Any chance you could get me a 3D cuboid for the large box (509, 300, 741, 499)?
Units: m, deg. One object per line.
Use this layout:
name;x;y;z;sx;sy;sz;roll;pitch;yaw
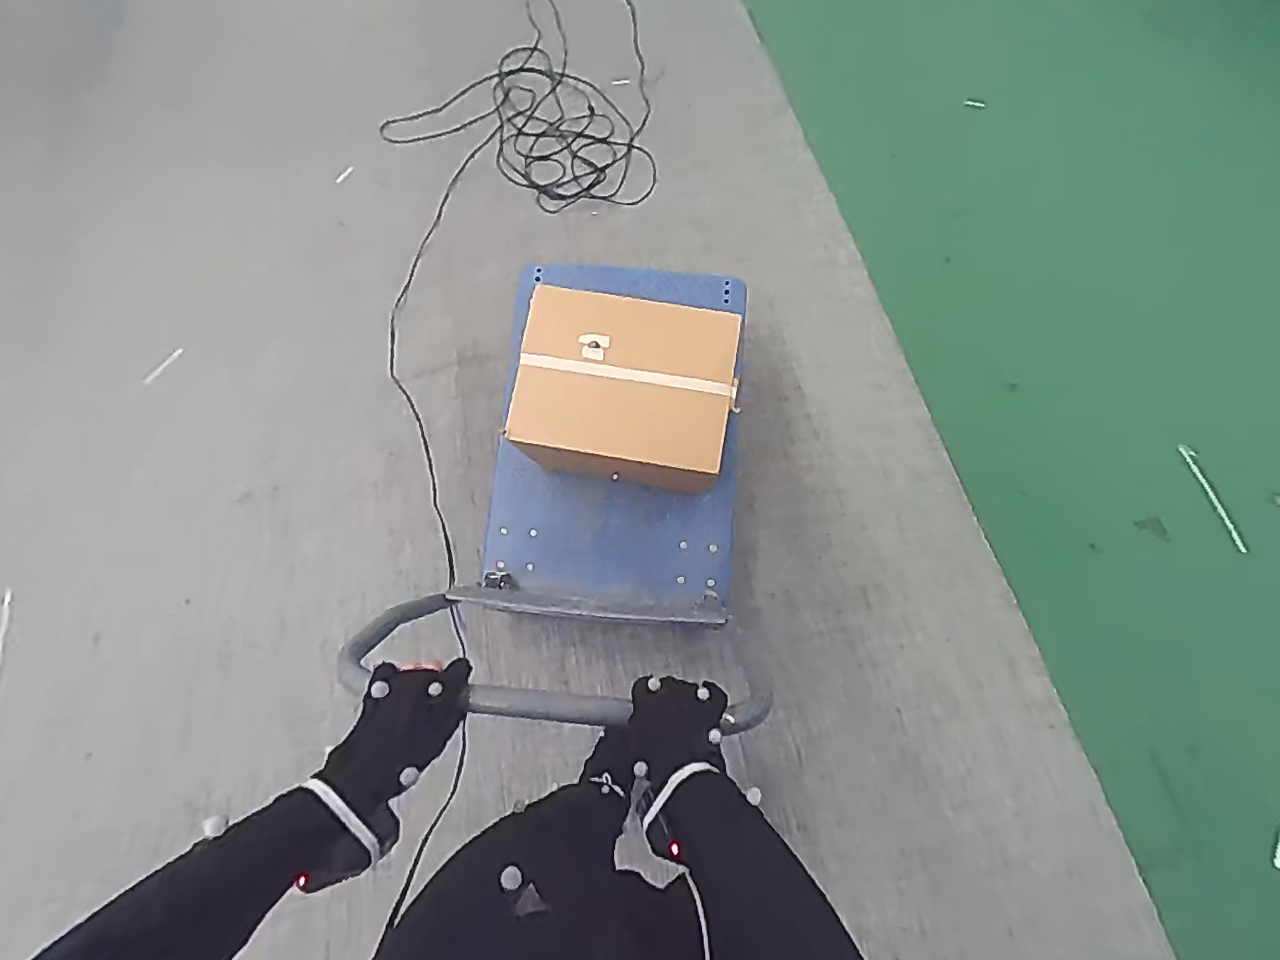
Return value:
large box;-0.018;-0.151;1.162;0.408;0.320;0.320;10;81;4
